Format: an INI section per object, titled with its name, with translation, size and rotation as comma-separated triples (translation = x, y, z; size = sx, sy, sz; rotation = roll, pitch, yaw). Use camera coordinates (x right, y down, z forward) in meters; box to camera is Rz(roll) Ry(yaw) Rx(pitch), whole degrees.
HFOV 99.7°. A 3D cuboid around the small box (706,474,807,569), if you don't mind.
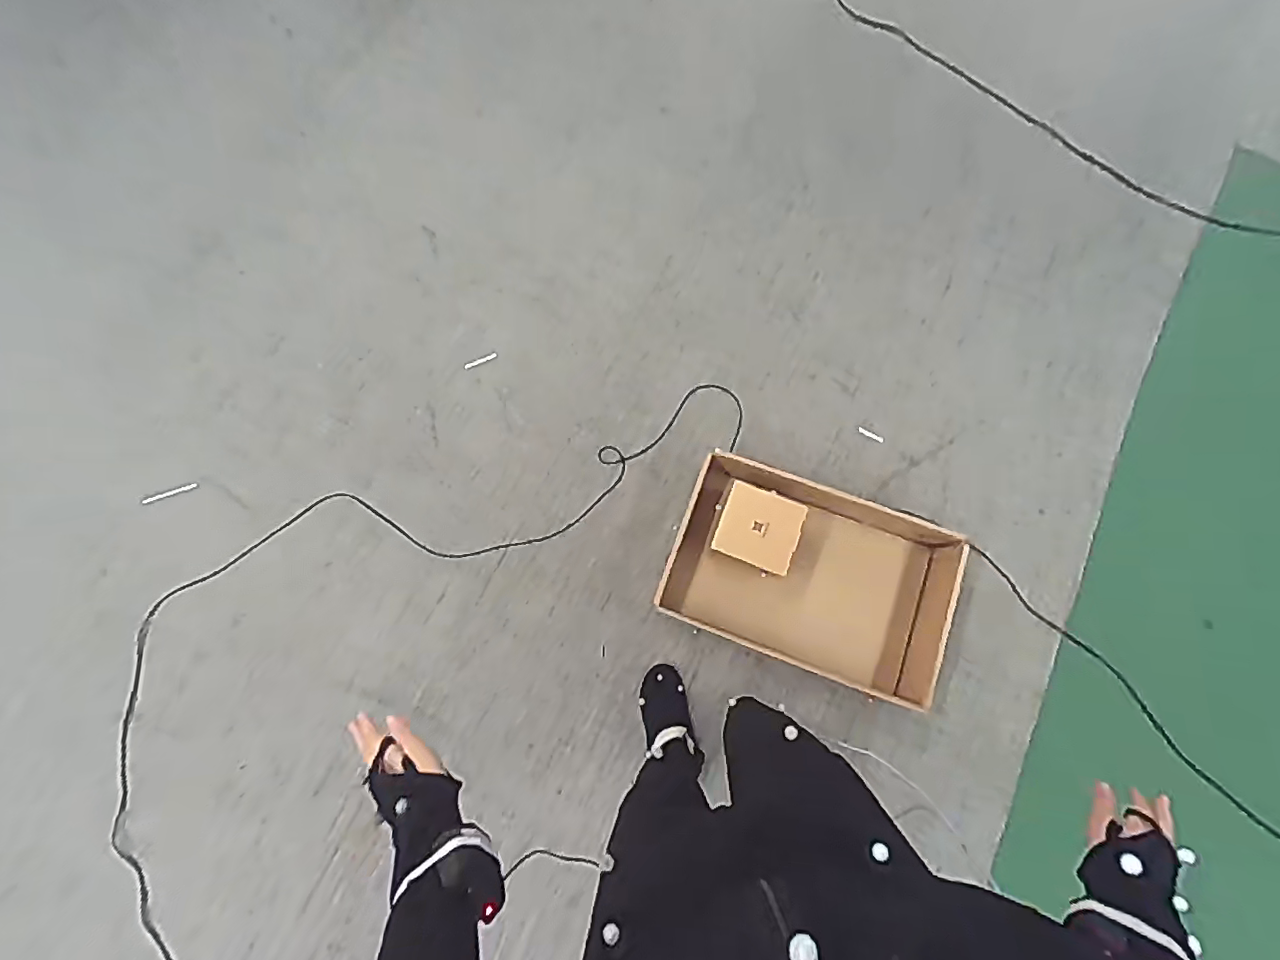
[small box]
translation = 0.263, 0.105, 1.266
size = 0.179, 0.176, 0.168
rotation = 20, 80, 4
